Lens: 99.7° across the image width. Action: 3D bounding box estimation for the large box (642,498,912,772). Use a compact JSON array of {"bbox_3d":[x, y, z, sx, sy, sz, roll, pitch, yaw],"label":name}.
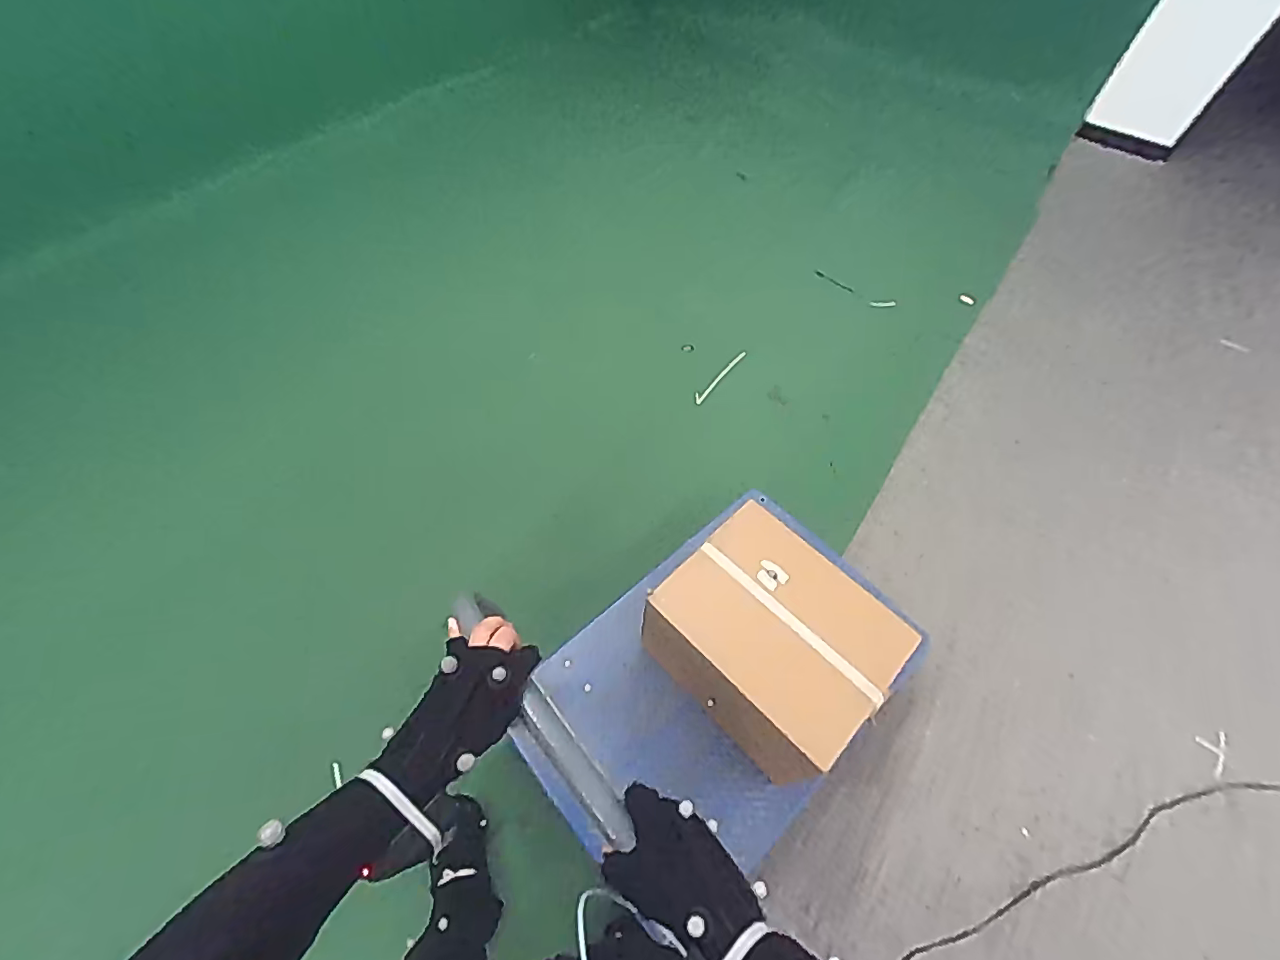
[{"bbox_3d":[0.250,0.323,1.121,0.320,0.320,0.408,-39,66,-24],"label":"large box"}]
